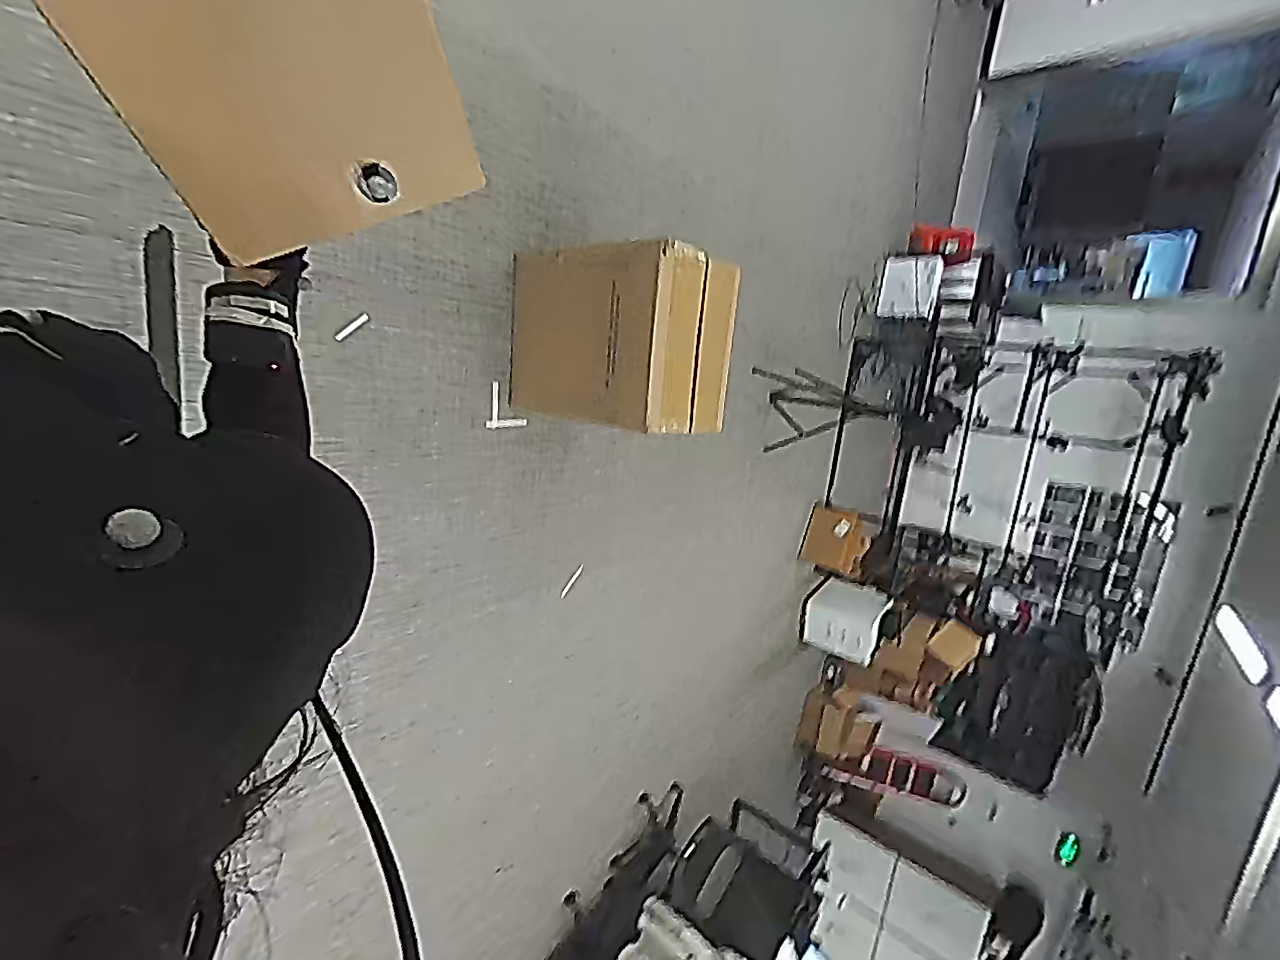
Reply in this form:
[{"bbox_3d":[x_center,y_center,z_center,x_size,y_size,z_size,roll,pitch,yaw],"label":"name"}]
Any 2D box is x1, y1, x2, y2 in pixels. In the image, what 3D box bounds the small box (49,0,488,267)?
[{"bbox_3d":[-0.217,-0.269,0.334,0.168,0.179,0.176,-24,142,-11],"label":"small box"}]
